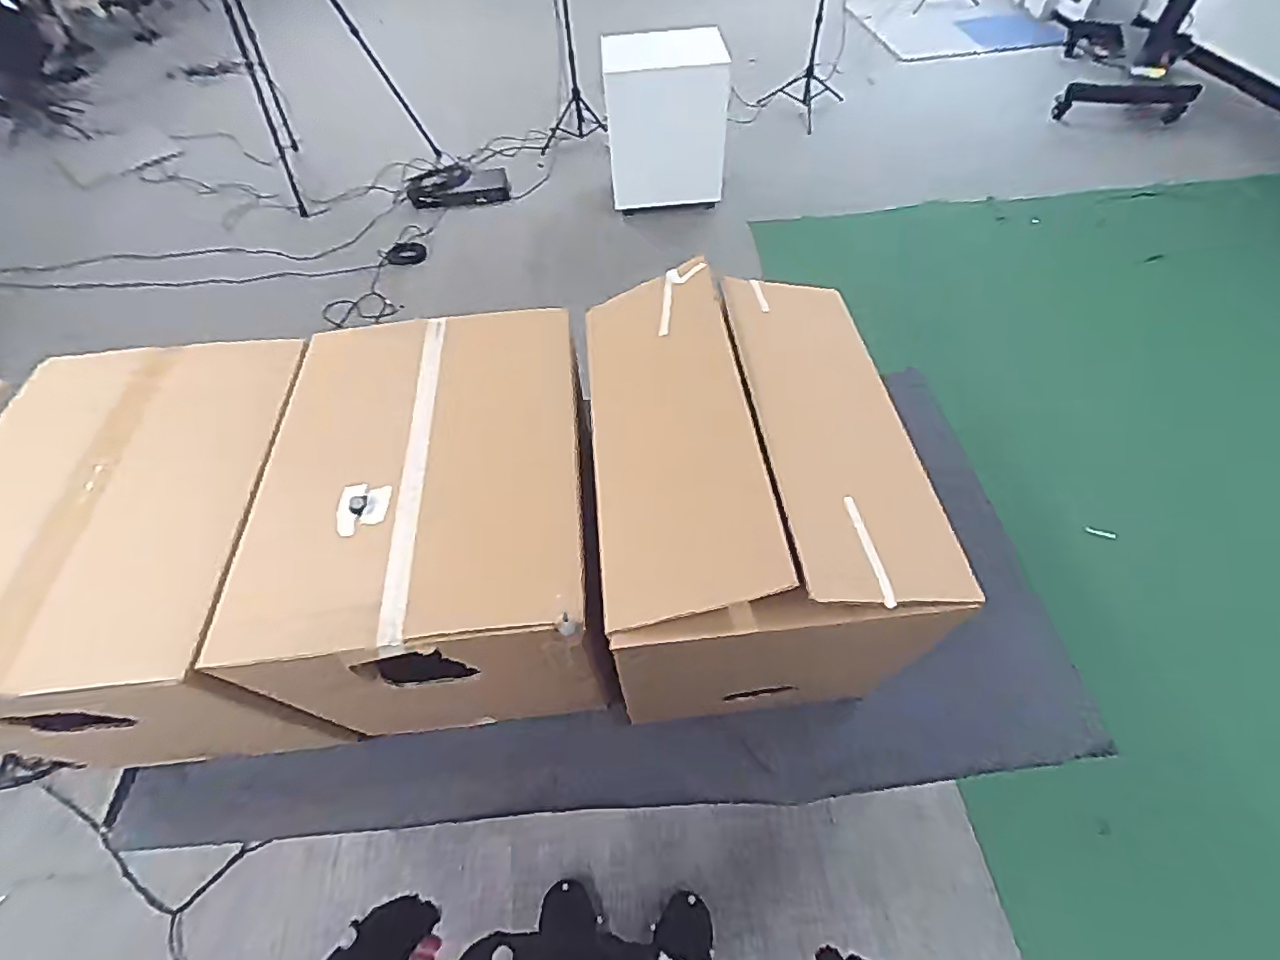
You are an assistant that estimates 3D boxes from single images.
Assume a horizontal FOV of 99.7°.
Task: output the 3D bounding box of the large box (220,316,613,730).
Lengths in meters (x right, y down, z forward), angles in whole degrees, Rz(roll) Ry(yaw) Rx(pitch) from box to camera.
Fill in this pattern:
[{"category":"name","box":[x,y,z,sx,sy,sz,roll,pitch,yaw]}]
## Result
[{"category":"large box","box":[-0.211,0.057,0.677,0.320,0.320,0.408,-7,56,-1]}]
